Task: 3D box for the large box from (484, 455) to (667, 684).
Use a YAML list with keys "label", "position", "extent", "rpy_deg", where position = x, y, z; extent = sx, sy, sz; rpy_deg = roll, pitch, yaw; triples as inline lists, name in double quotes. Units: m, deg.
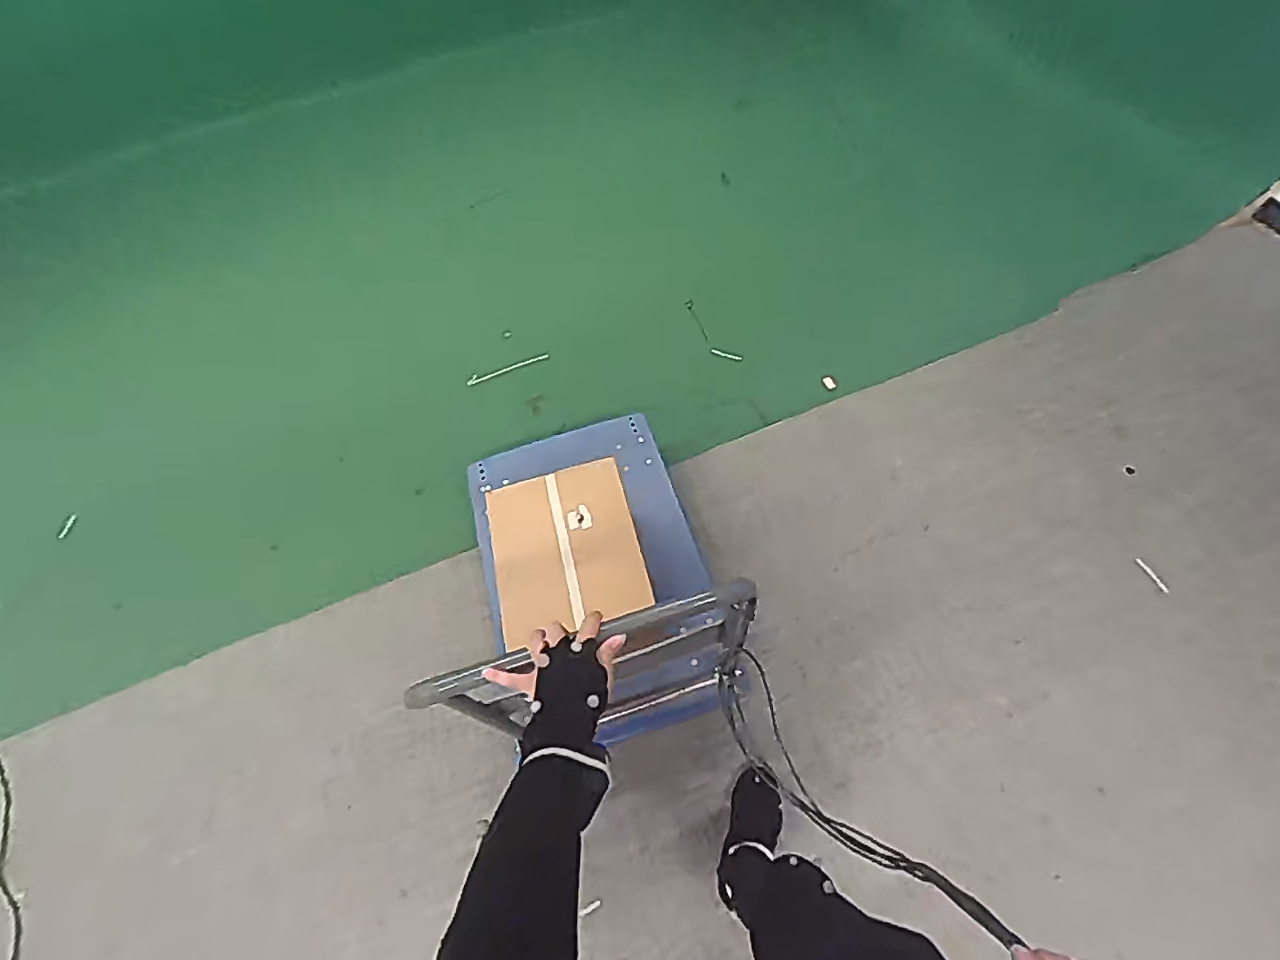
- label: "large box"
  position: [-0.144, 0.218, 1.278]
  extent: [0.320, 0.320, 0.408]
  rpy_deg: [-15, 60, -3]
